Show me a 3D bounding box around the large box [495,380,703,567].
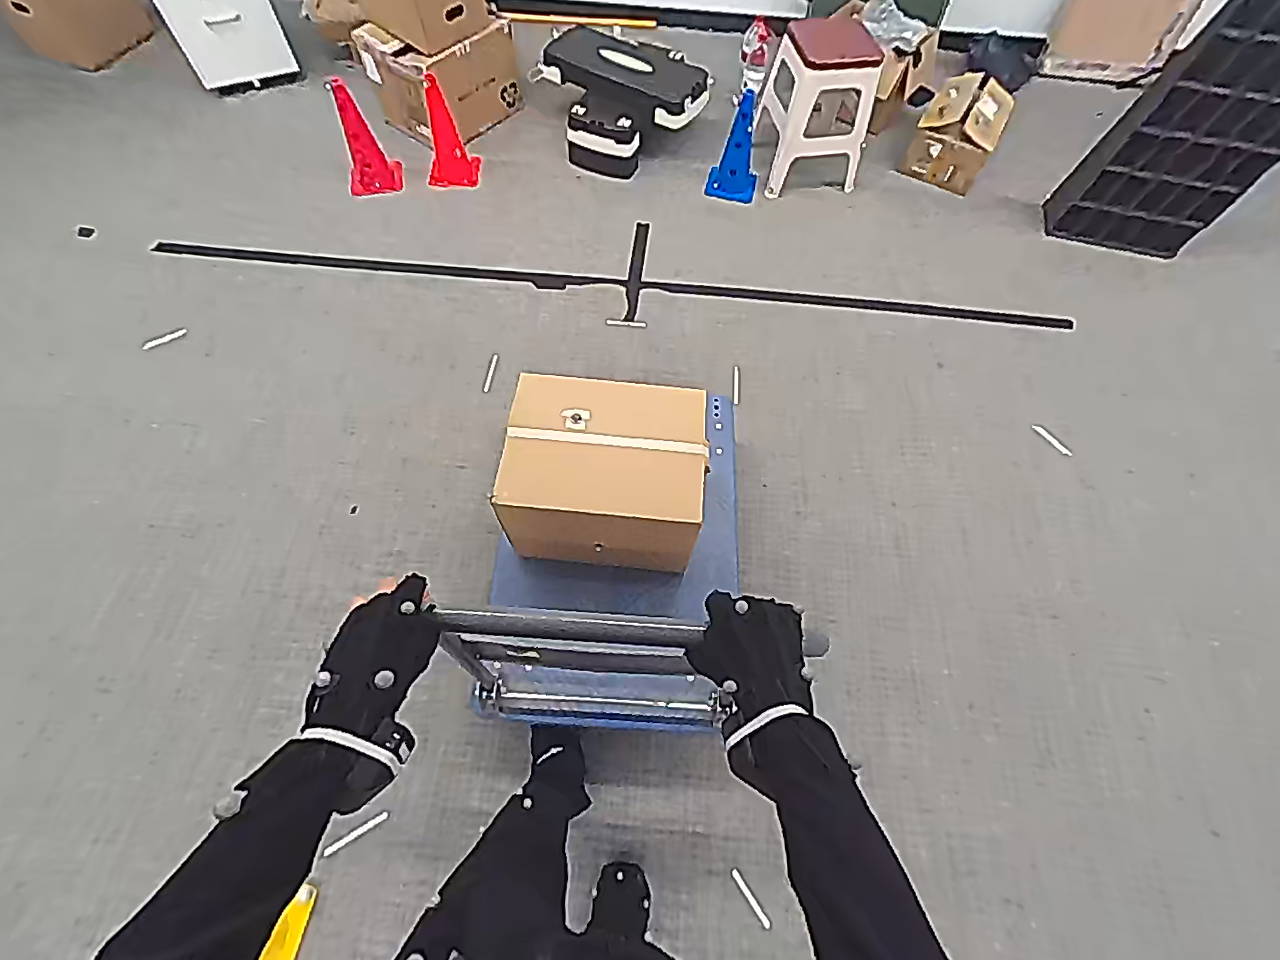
[{"bbox_3d":[-0.073,-0.001,1.241,0.408,0.320,0.320,5,63,1],"label":"large box"}]
